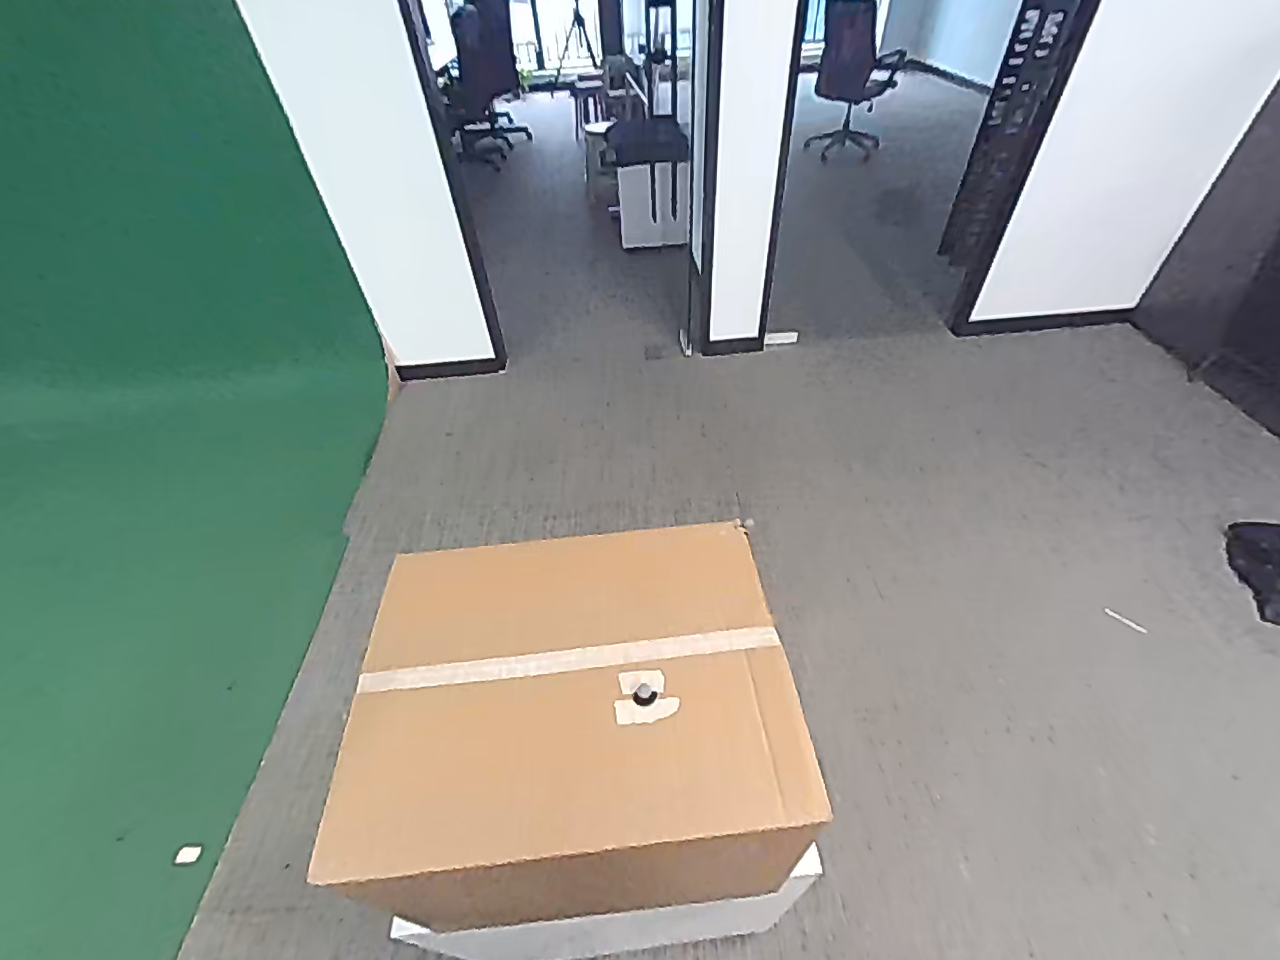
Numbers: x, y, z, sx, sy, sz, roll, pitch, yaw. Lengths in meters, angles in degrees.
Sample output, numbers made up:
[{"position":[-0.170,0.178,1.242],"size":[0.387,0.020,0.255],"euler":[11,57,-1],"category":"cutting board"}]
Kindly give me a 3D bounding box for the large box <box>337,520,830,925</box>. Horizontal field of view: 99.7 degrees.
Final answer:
[{"position":[-0.053,0.280,0.637],"size":[0.408,0.320,0.320],"euler":[-5,45,-3],"category":"large box"}]
